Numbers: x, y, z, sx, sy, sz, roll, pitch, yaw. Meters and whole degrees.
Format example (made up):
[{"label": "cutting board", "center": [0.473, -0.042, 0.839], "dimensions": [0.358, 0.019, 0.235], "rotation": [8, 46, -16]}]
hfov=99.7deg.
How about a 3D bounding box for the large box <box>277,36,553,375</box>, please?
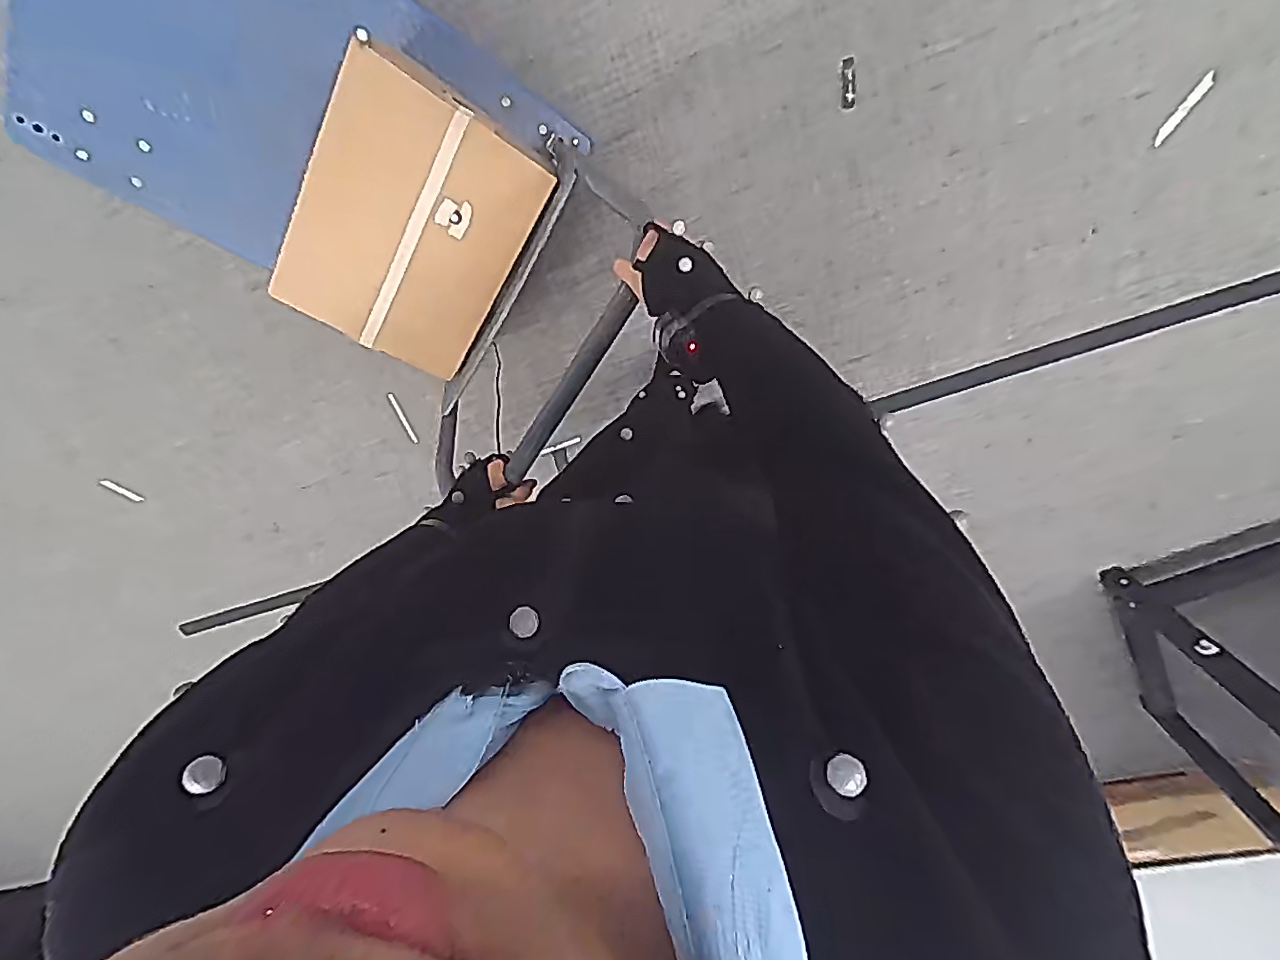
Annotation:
[{"label": "large box", "center": [-0.392, -0.479, 0.992], "dimensions": [0.320, 0.320, 0.408], "rotation": [24, 115, -27]}]
